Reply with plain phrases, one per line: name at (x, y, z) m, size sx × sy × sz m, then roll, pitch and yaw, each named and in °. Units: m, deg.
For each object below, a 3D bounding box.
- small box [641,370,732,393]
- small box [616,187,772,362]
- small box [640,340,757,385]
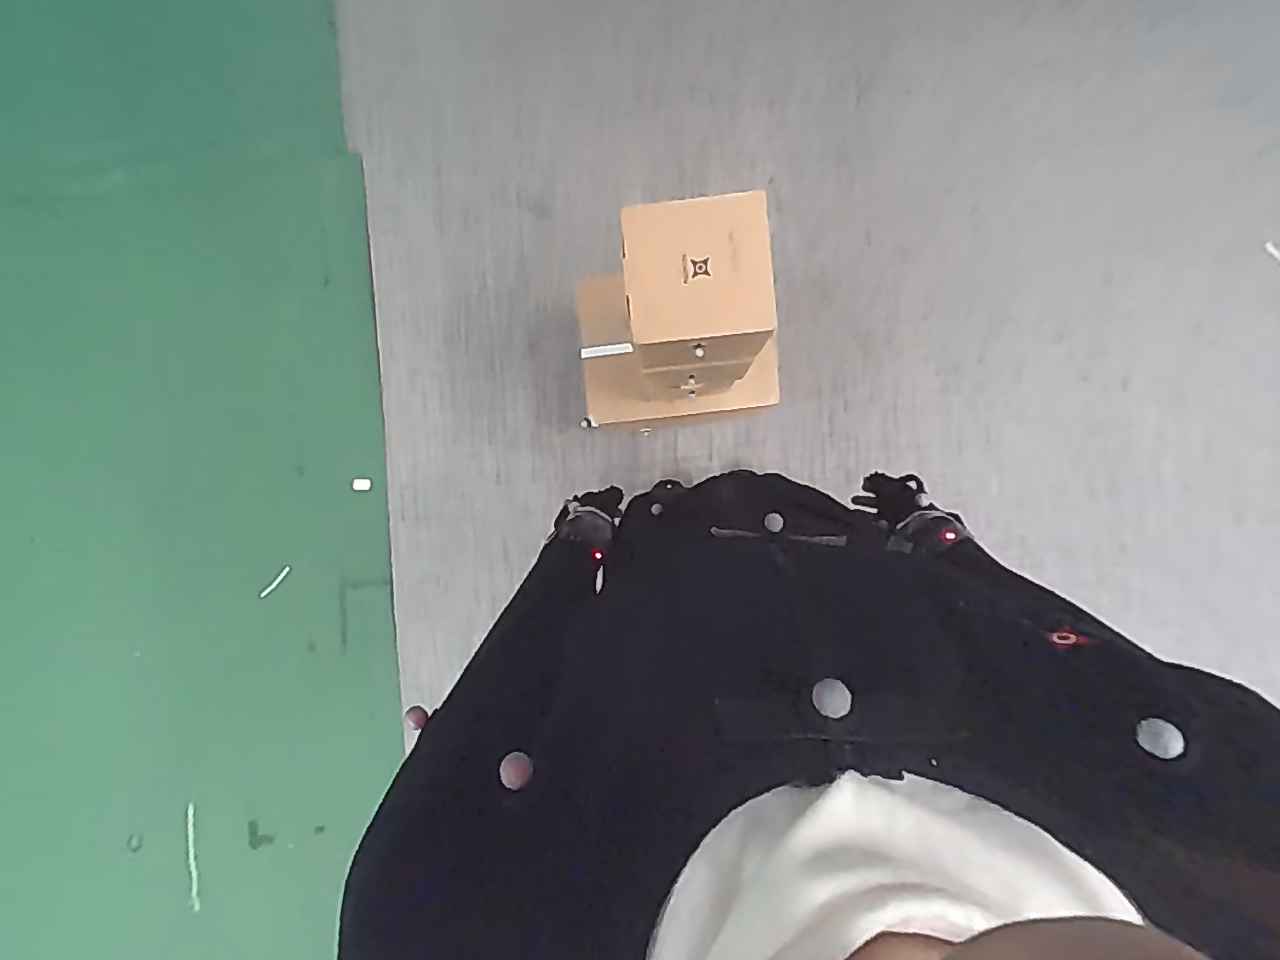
small box at (0.084, -0.267, 1.046) m, size 0.168 × 0.176 × 0.179 m, roll -7°, pitch 92°, yaw 5°
small box at (0.069, -0.259, 0.720) m, size 0.179 × 0.176 × 0.168 m, roll -5°, pitch 92°, yaw 4°
small box at (0.081, -0.256, 0.882) m, size 0.179 × 0.176 × 0.168 m, roll -8°, pitch 91°, yaw 4°
